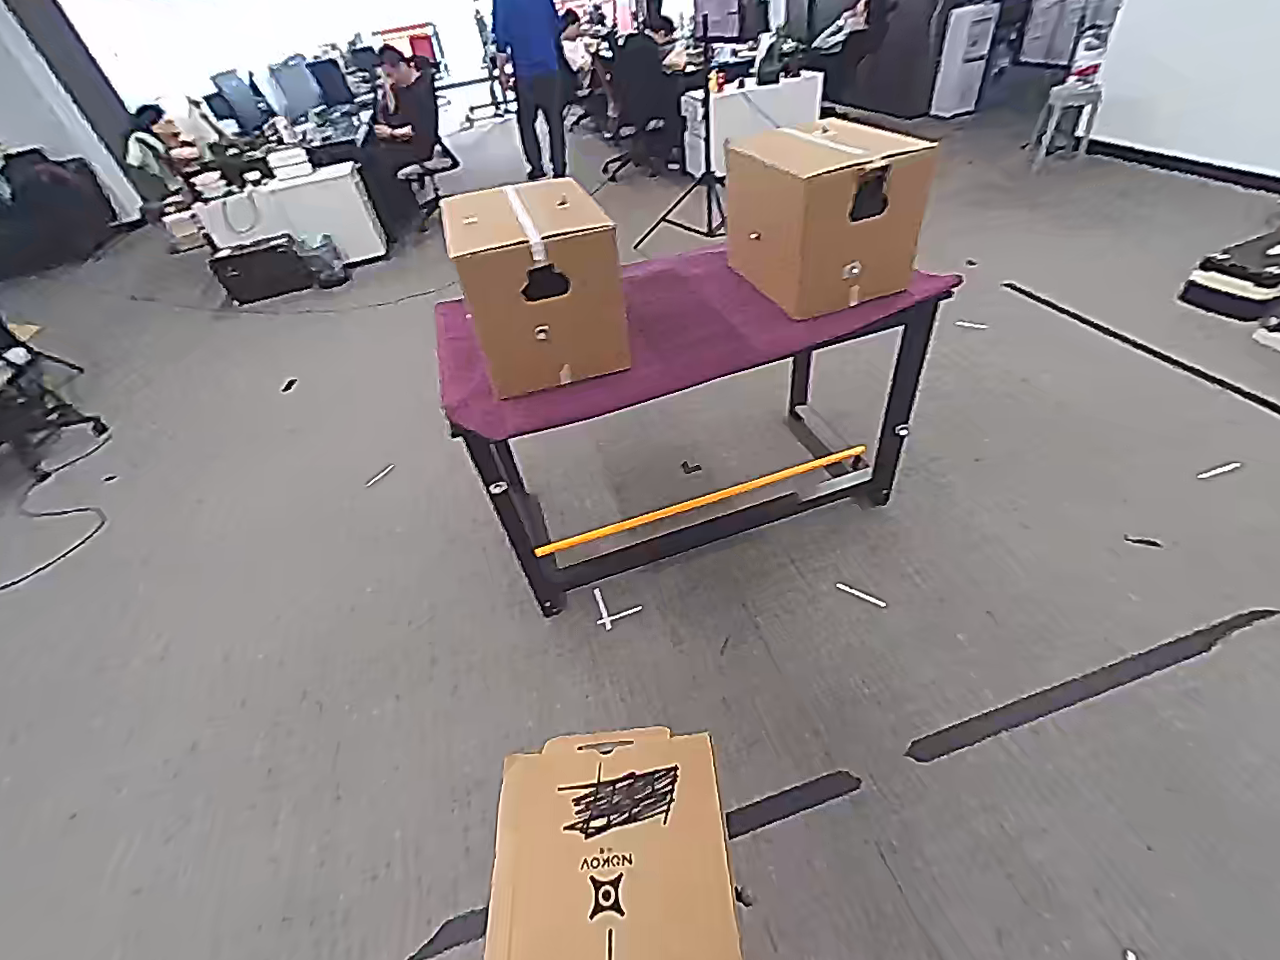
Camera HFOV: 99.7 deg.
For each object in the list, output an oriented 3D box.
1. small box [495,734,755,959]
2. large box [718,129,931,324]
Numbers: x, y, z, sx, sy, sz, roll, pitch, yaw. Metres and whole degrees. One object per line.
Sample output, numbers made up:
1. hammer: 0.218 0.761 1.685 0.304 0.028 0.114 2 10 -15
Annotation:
1. small box: -0.001 0.324 0.422 0.168 0.176 0.179 -9 46 5
2. large box: 0.422 -0.634 1.335 0.320 0.320 0.408 -18 42 -9
